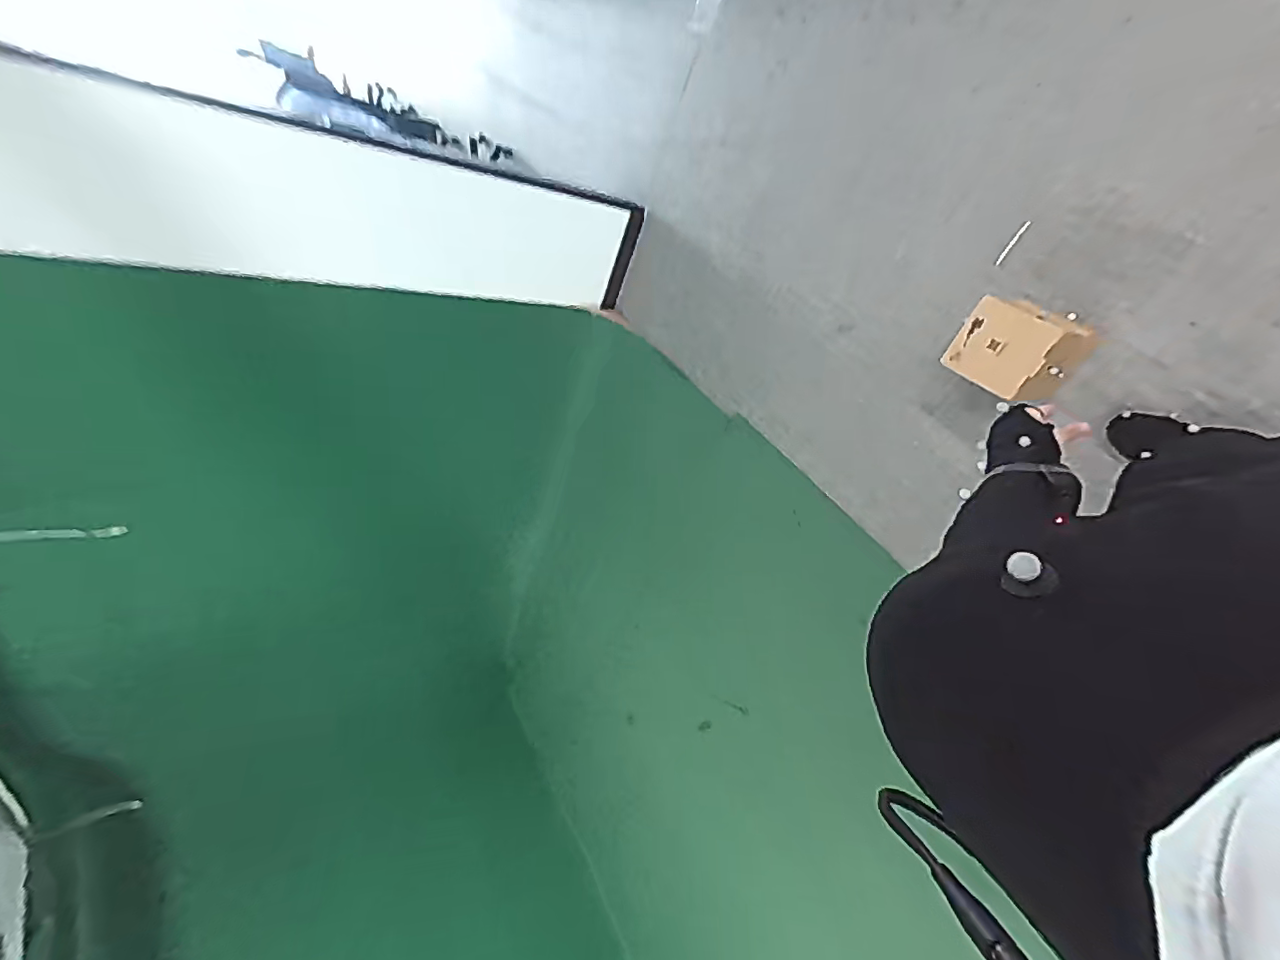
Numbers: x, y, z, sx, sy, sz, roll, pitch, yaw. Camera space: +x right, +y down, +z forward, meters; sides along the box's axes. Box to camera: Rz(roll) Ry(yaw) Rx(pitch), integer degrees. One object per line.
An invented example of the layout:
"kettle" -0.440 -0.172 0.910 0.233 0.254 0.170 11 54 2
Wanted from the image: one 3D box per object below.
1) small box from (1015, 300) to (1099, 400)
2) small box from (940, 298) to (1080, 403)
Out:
"small box" 0.953 -0.308 1.304 0.168 0.176 0.179 50 130 33
"small box" 0.825 -0.288 1.204 0.179 0.176 0.168 47 129 34
